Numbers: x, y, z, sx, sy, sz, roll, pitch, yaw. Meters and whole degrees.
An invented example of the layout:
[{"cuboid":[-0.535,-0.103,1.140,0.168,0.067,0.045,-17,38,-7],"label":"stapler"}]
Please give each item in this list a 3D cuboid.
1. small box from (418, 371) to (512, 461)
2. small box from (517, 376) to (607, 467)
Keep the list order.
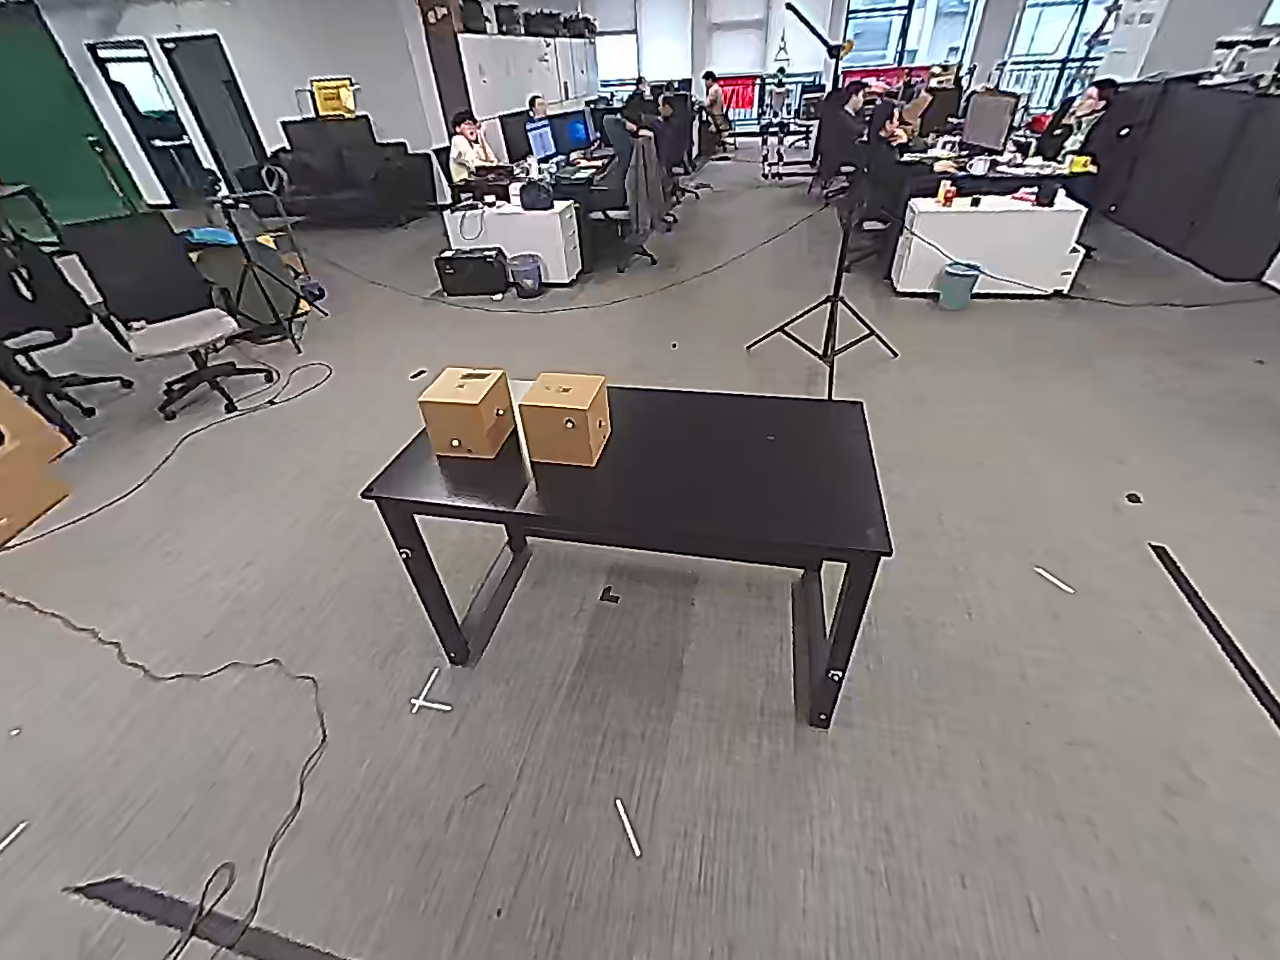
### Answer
[{"cuboid":[-0.450,-0.170,1.427,0.168,0.176,0.179,4,39,10],"label":"small box"},{"cuboid":[-0.189,-0.148,1.376,0.179,0.176,0.168,5,38,11],"label":"small box"}]
